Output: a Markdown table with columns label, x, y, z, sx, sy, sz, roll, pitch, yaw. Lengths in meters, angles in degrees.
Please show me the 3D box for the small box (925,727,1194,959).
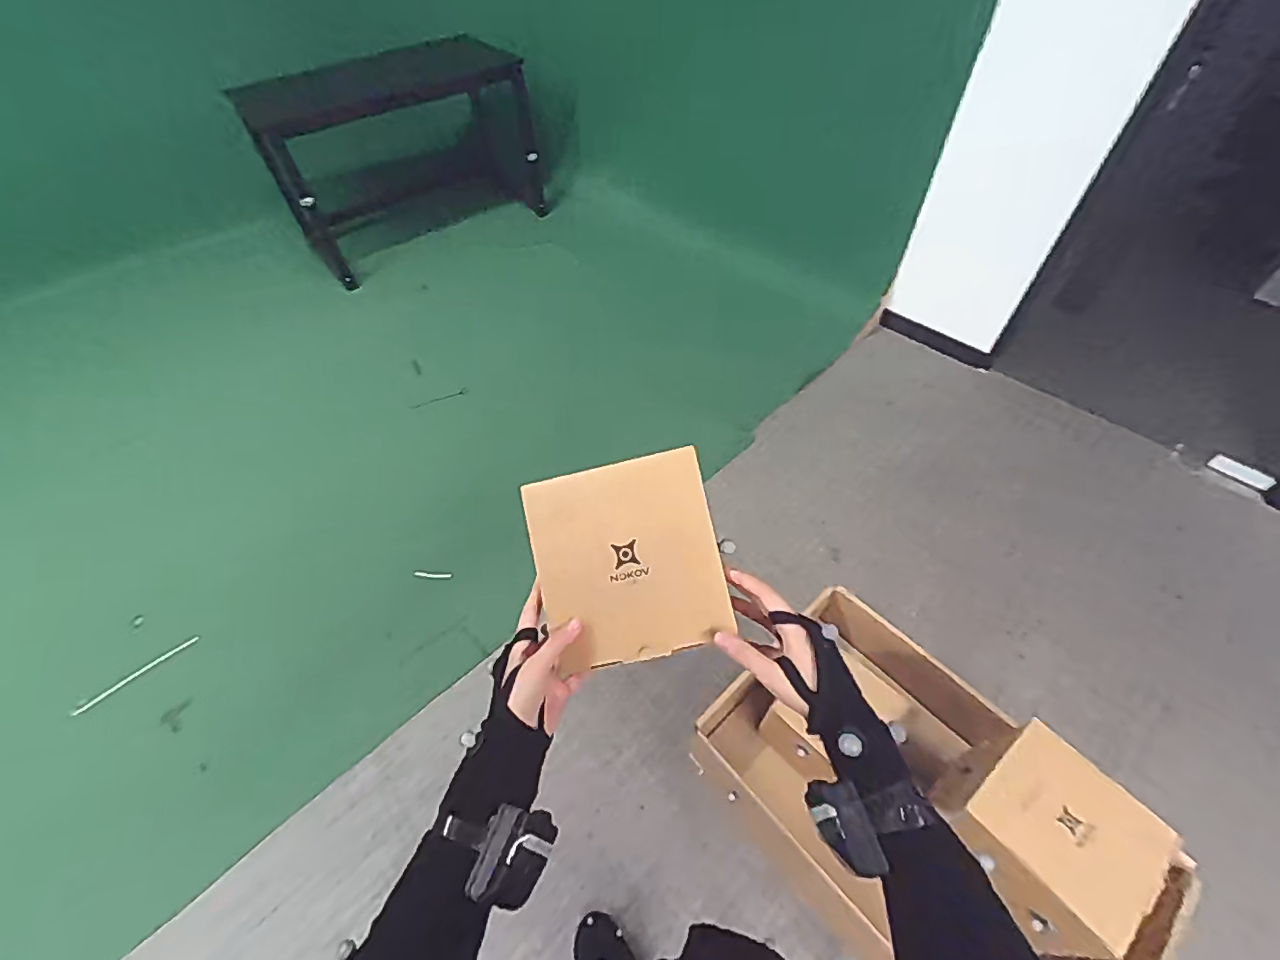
| label | x | y | z | sx | sy | sz | roll | pitch | yaw |
| --- | --- | --- | --- | --- | --- | --- | --- | --- | --- |
| small box | 0.502 | 0.452 | 0.676 | 0.168 | 0.176 | 0.179 | -32 | 55 | -21 |
